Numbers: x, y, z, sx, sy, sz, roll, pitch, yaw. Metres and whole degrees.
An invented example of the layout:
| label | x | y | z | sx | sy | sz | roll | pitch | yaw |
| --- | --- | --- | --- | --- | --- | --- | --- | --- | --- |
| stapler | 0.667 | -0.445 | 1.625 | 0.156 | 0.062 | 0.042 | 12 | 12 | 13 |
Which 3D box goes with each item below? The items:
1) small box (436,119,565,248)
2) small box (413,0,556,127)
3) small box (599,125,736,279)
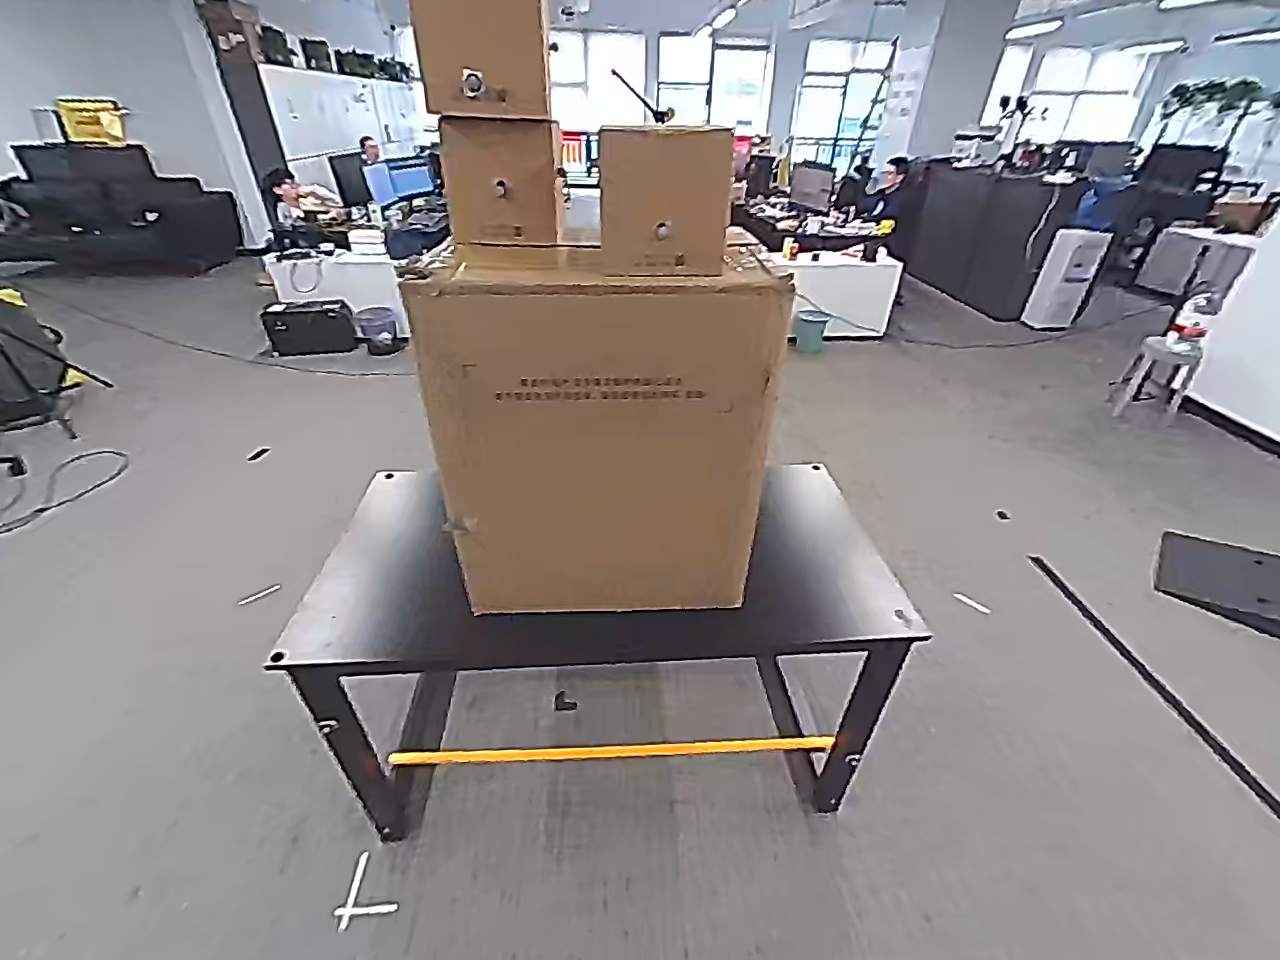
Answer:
| label | x | y | z | sx | sy | sz | roll | pitch | yaw |
| --- | --- | --- | --- | --- | --- | --- | --- | --- | --- |
| small box | -0.210 | -0.478 | 0.869 | 0.168 | 0.176 | 0.179 | 0 | 34 | -4 |
| small box | -0.207 | -0.595 | 0.749 | 0.168 | 0.176 | 0.179 | -3 | 35 | -6 |
| small box | 0.031 | -0.387 | 0.747 | 0.168 | 0.176 | 0.179 | -1 | 35 | 0 |
